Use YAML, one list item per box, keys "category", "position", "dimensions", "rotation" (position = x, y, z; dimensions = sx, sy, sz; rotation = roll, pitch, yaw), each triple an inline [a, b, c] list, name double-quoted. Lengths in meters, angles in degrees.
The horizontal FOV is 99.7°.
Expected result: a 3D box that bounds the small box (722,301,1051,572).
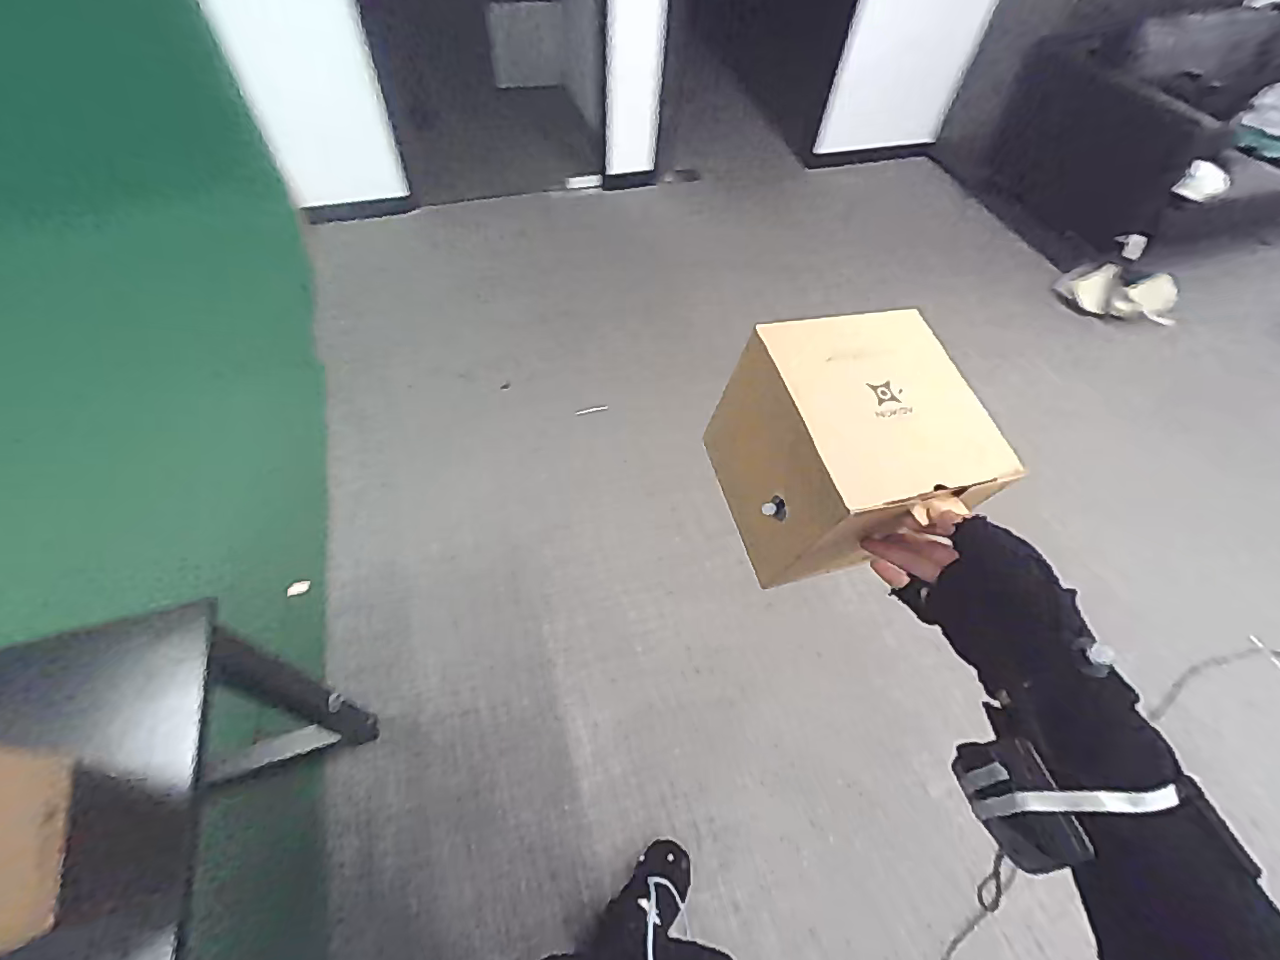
- category: "small box"
  position: [0.192, -0.030, 0.481]
  dimensions: [0.168, 0.176, 0.179]
  rotation: [-9, 63, -15]
